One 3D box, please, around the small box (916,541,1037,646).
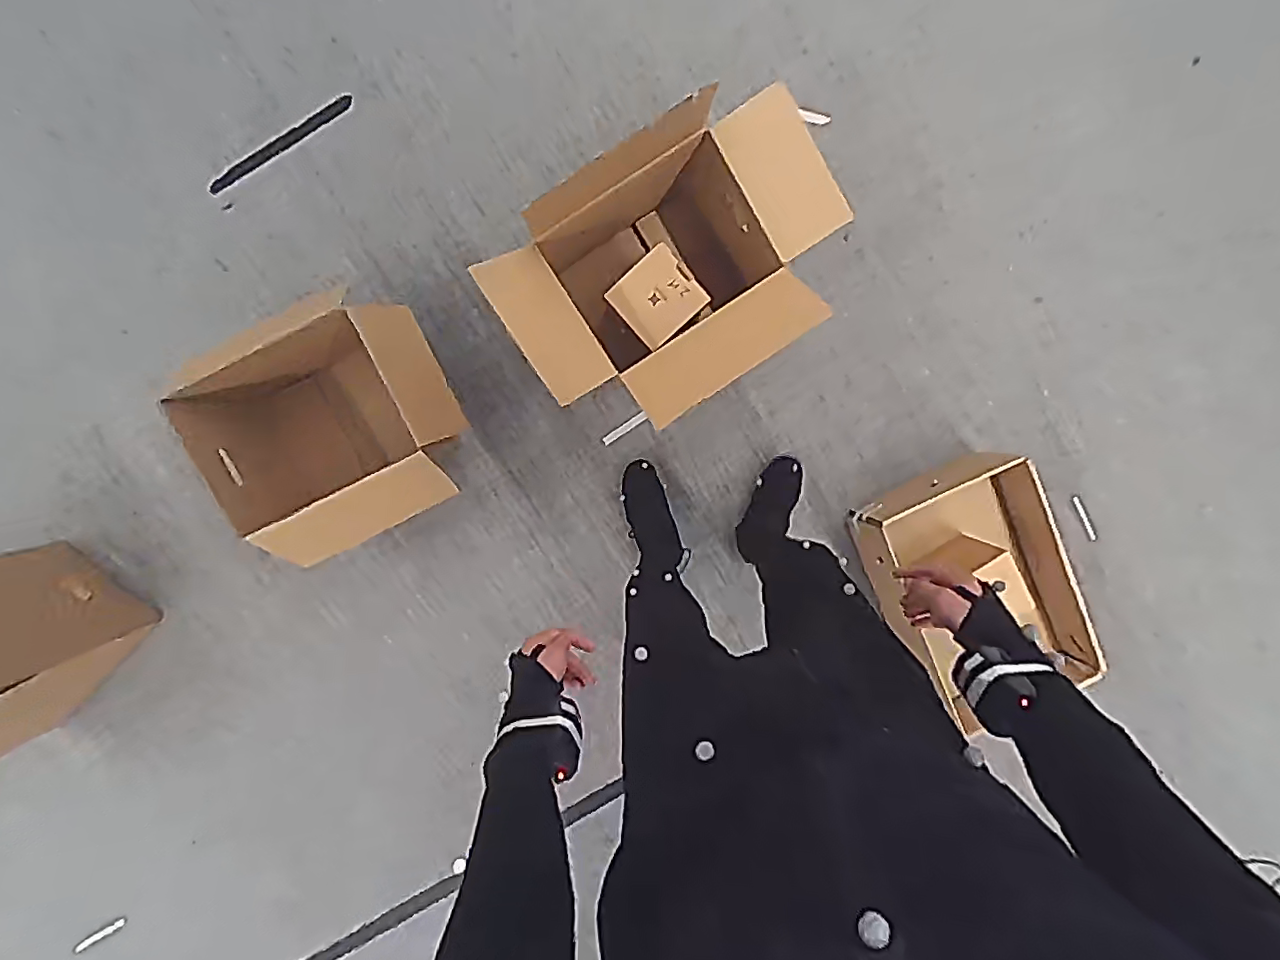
[{"bbox_3d":[0.828,0.277,1.356,0.179,0.176,0.168,-30,99,0],"label":"small box"}]
